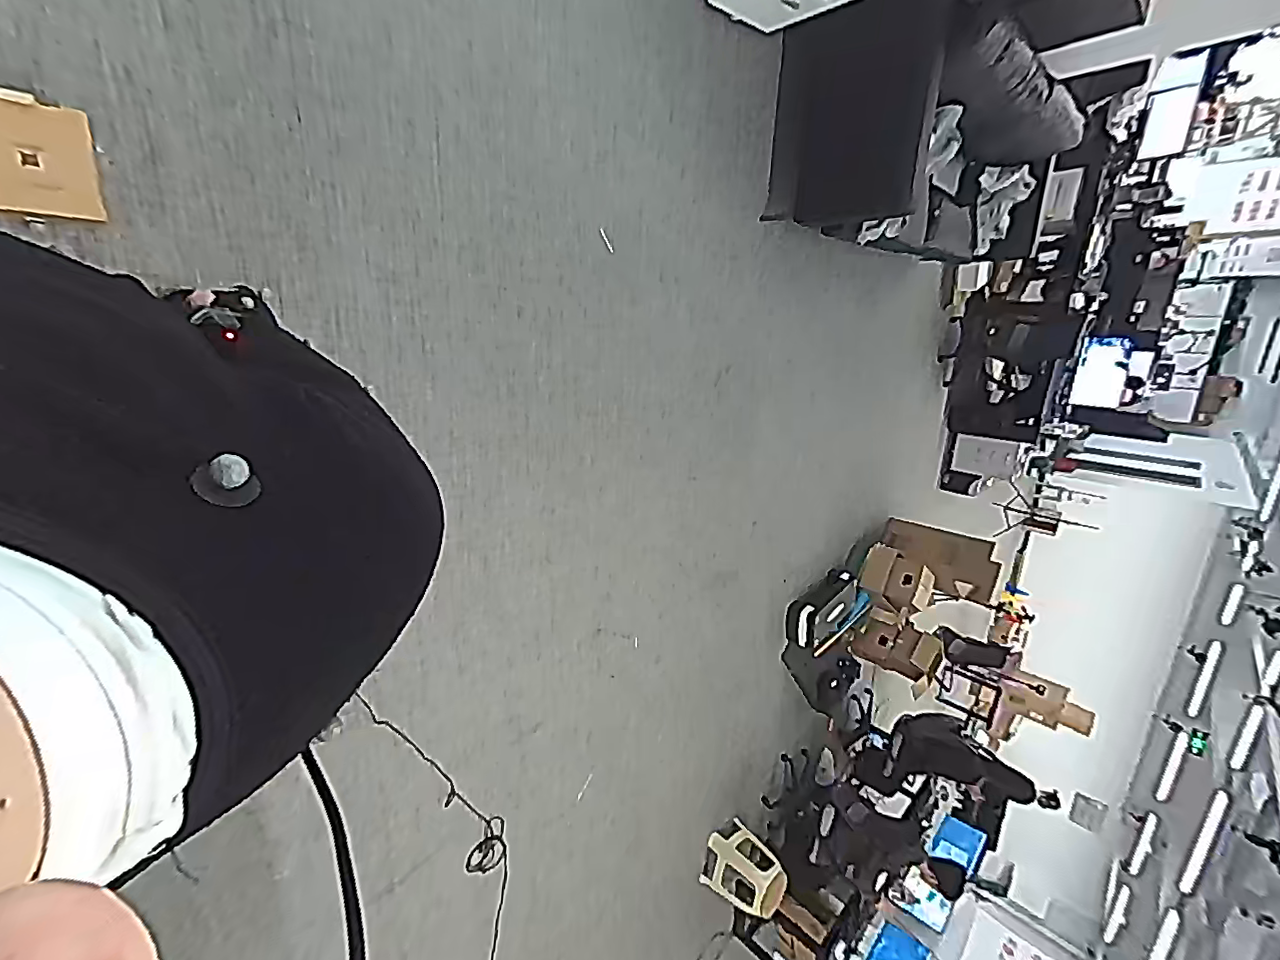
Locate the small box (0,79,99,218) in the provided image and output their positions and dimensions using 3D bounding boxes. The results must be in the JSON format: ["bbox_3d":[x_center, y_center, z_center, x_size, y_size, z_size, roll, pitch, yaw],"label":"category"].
[{"bbox_3d":[-1.065,-0.569,0.933,0.168,0.176,0.179,-9,110,-43],"label":"small box"}]
